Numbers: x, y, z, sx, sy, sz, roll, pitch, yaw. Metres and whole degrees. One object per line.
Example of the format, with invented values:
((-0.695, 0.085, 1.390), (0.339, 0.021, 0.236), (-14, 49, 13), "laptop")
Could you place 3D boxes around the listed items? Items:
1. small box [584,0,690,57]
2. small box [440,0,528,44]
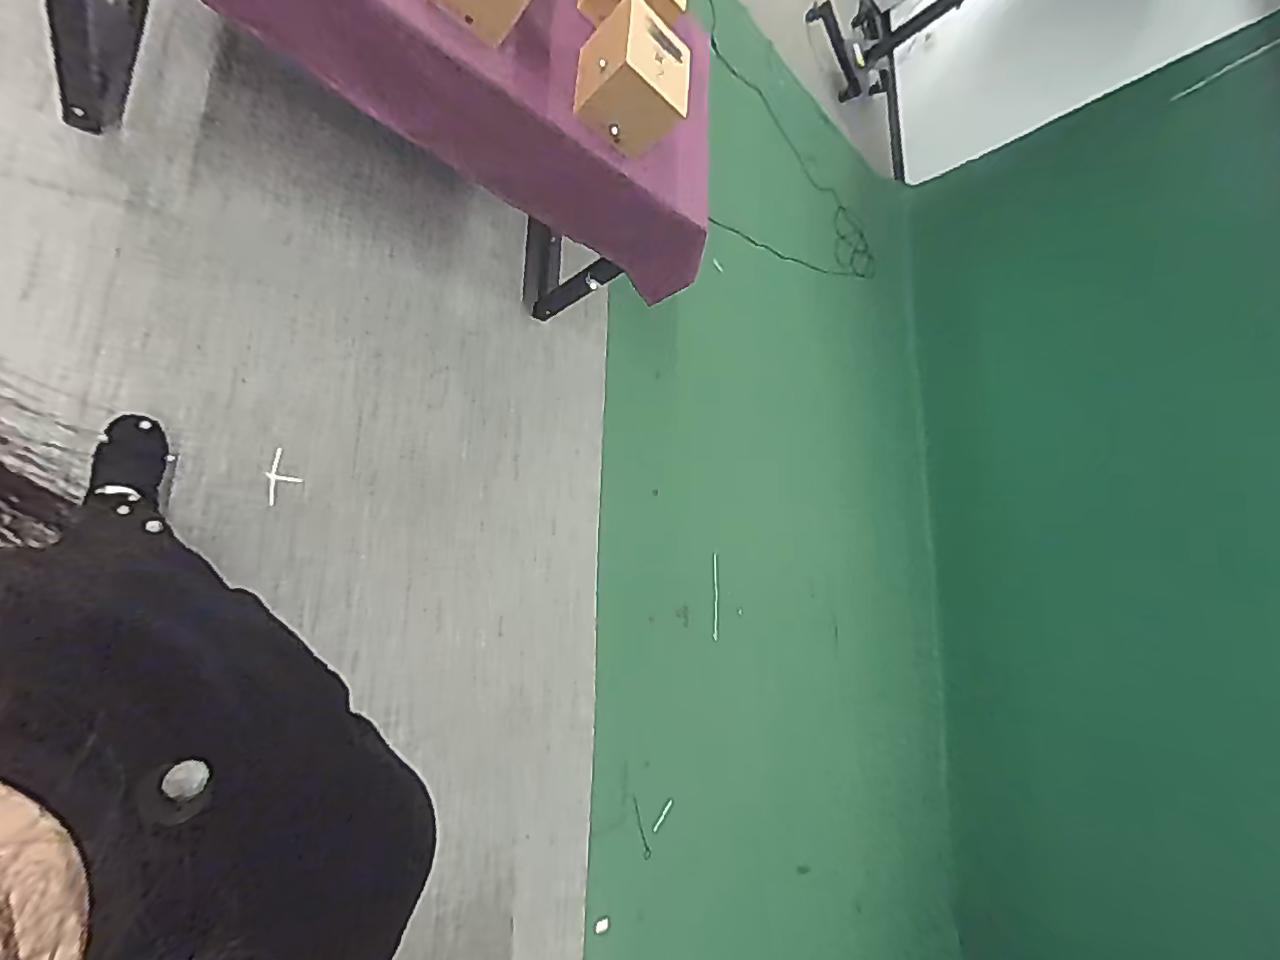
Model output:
((-0.006, -1.074, 1.158), (0.168, 0.176, 0.179), (16, 72, -40), "small box")
((-0.259, -0.888, 0.889), (0.168, 0.176, 0.179), (14, 72, -41), "small box")
